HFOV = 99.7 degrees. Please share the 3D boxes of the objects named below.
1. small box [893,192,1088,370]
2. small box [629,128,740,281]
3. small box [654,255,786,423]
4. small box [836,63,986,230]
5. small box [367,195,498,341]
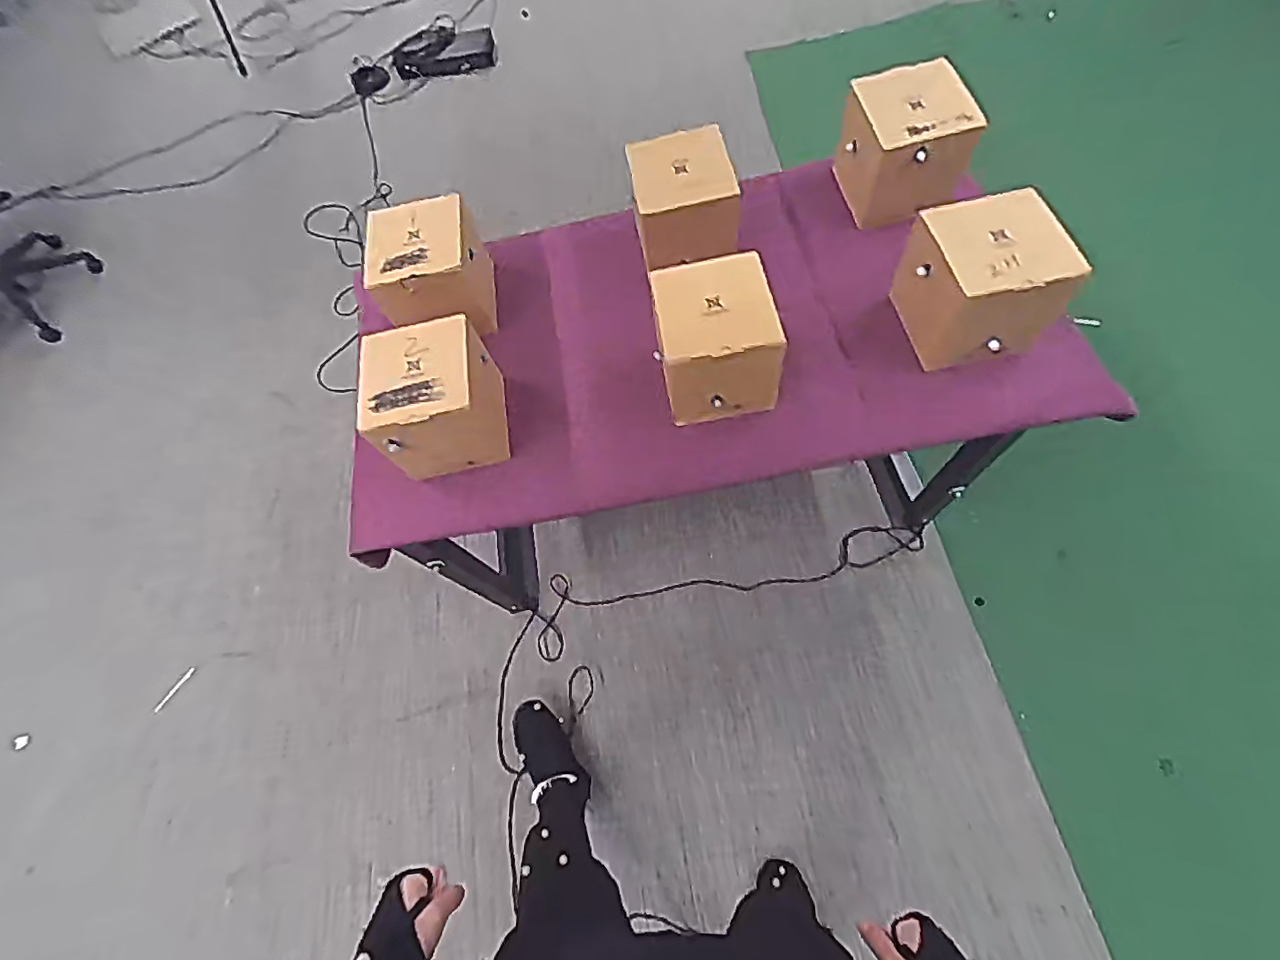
[{"bbox_3d":[0.512,-0.297,0.826,0.168,0.176,0.179,-10,64,4],"label":"small box"},{"bbox_3d":[0.078,-0.485,0.973,0.168,0.176,0.179,-10,67,3],"label":"small box"},{"bbox_3d":[0.117,-0.214,0.847,0.168,0.176,0.179,-10,64,3],"label":"small box"},{"bbox_3d":[0.464,-0.584,0.961,0.168,0.176,0.179,-12,66,4],"label":"small box"},{"bbox_3d":[-0.365,-0.371,0.978,0.168,0.176,0.179,-10,66,2],"label":"small box"}]
